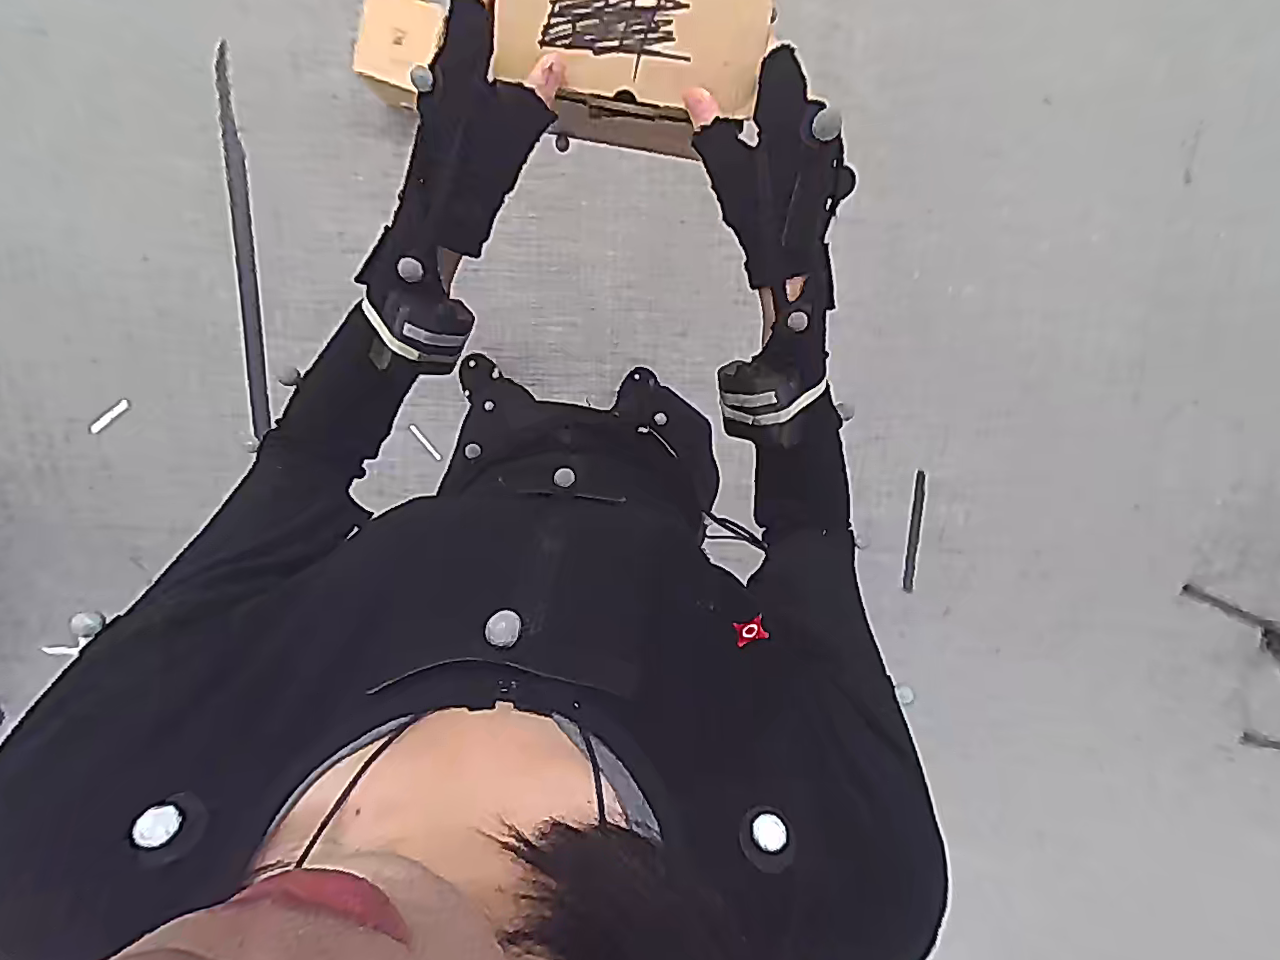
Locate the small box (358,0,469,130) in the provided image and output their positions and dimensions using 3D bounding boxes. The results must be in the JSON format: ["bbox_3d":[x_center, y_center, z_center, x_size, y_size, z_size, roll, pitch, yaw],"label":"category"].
[{"bbox_3d":[-0.505,-0.946,1.231,0.168,0.176,0.179,18,102,-3],"label":"small box"}]

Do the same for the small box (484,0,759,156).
[{"bbox_3d":[-0.007,-0.350,0.385,0.168,0.176,0.179,6,112,-5],"label":"small box"}]
